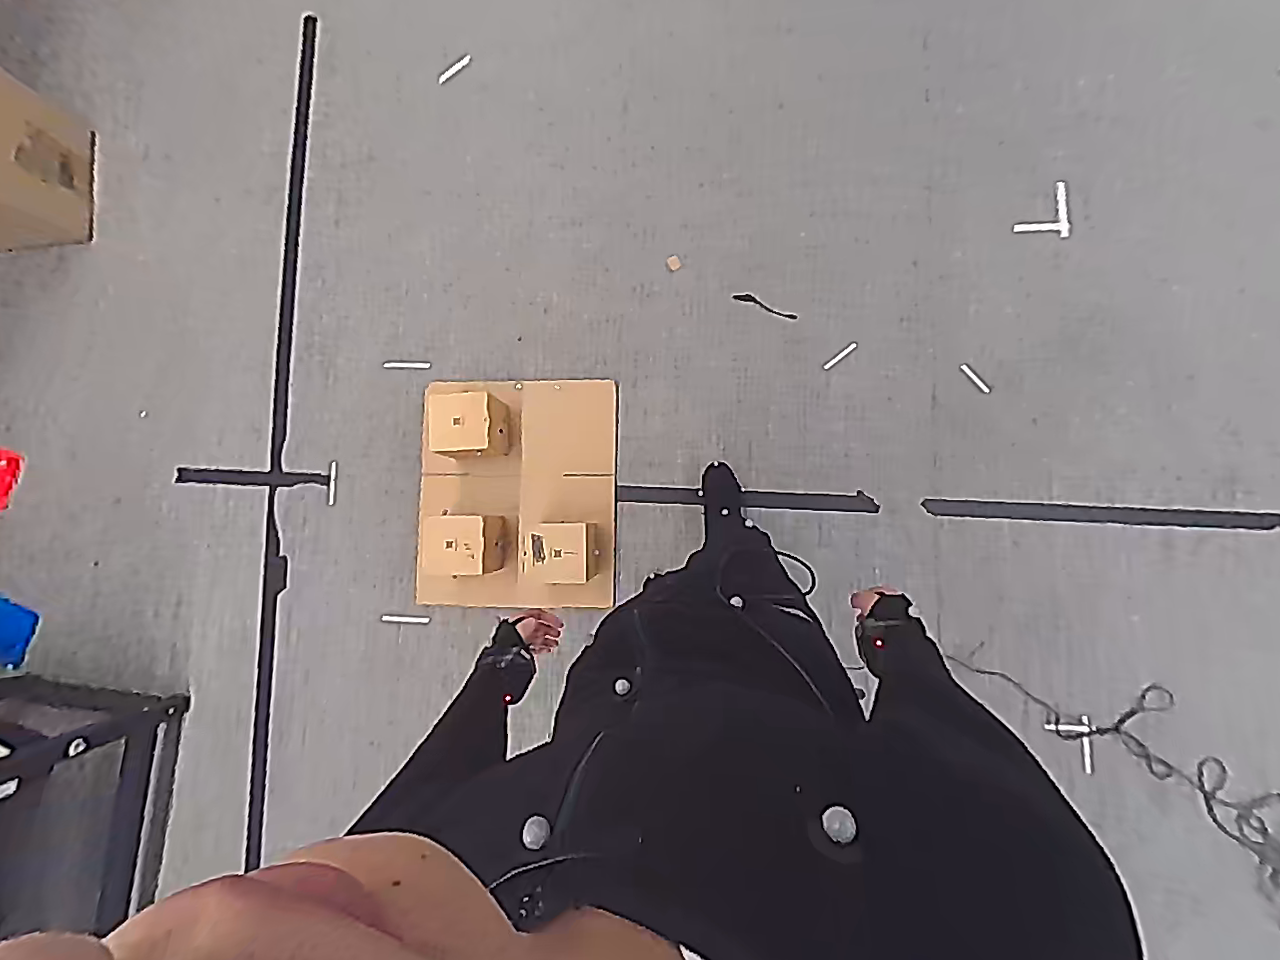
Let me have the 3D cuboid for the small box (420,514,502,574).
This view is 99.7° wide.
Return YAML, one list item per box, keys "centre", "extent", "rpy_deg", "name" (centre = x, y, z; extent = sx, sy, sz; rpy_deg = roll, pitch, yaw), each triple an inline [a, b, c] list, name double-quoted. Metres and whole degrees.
- centre: [-0.514, 0.182, 1.569]
  extent: [0.179, 0.176, 0.168]
  rpy_deg: [0, 87, 3]
  name: "small box"

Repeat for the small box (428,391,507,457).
- centre: [-0.508, -0.160, 1.601]
  extent: [0.179, 0.176, 0.168]
  rpy_deg: [-4, 85, 3]
  name: "small box"

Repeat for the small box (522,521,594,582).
- centre: [-0.230, 0.202, 1.550]
  extent: [0.179, 0.176, 0.168]
  rpy_deg: [-1, 86, 3]
  name: "small box"
